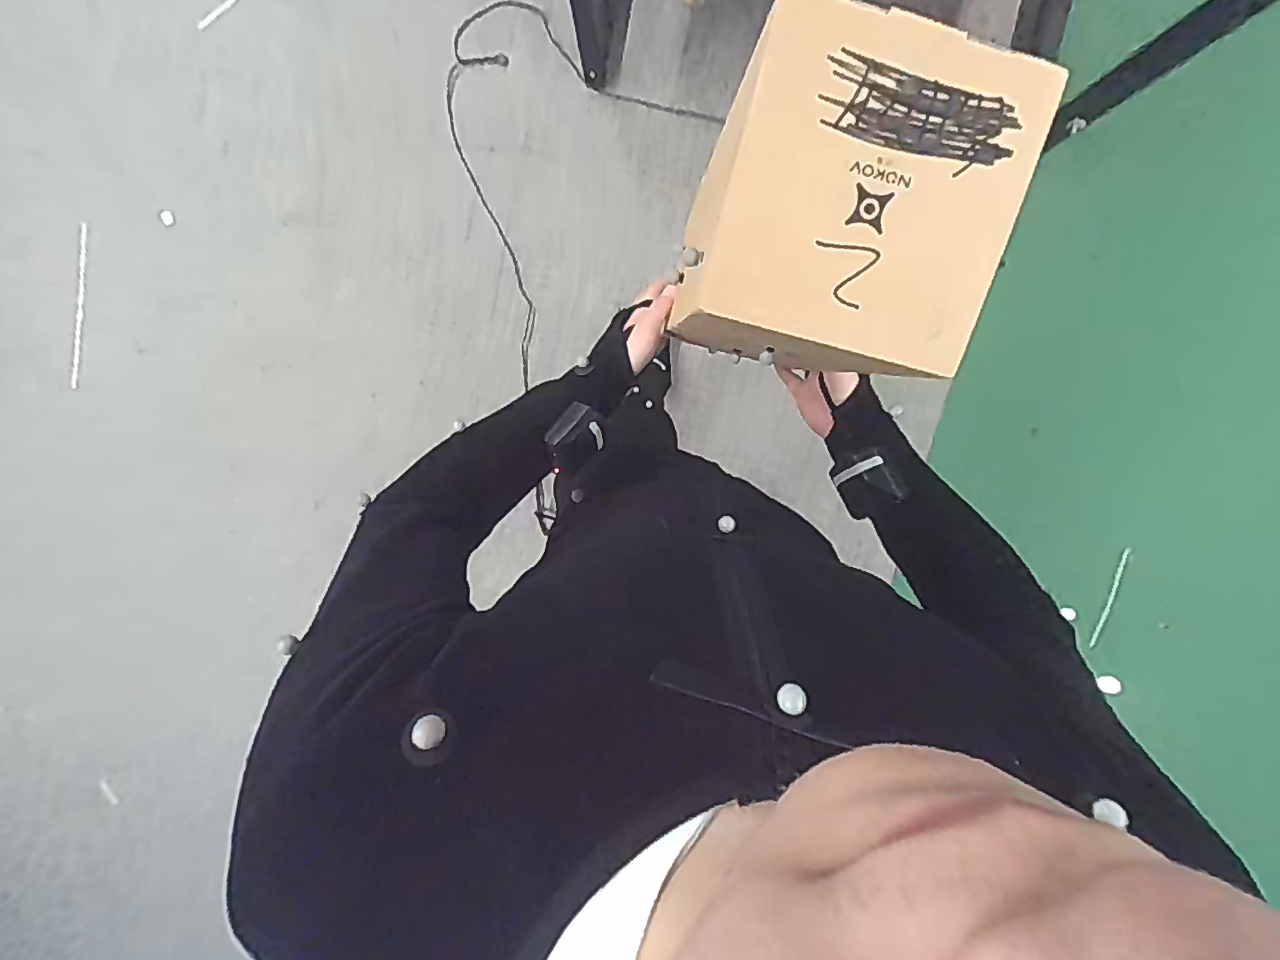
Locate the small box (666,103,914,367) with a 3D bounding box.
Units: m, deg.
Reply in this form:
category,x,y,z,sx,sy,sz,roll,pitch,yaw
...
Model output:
category,x,y,z,sx,sy,sz,roll,pitch,yaw
small box,0.126,-0.220,0.536,0.168,0.176,0.179,14,102,-5
